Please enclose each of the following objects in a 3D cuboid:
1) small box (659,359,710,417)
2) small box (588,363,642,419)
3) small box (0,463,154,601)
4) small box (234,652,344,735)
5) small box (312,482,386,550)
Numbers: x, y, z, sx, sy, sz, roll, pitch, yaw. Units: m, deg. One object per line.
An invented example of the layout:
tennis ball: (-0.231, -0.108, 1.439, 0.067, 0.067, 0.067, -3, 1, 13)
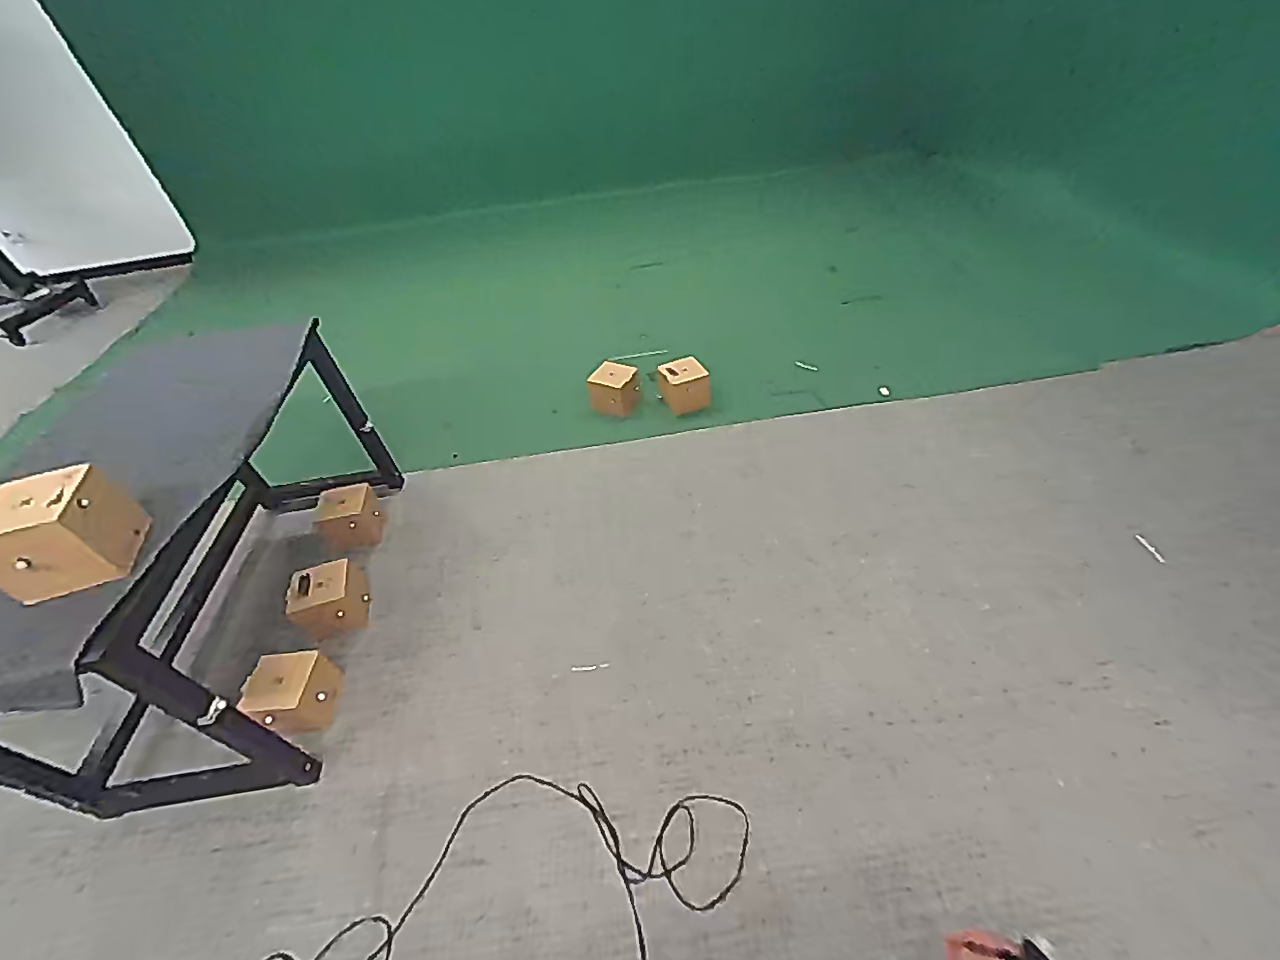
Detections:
small box: (0.199, -0.403, 2.384, 0.179, 0.176, 0.168, -19, 46, -12)
small box: (-0.106, -0.396, 2.422, 0.179, 0.176, 0.168, 17, 49, 24)
small box: (-1.092, 0.101, 1.021, 0.179, 0.176, 0.168, -17, 45, -10)
small box: (-0.983, 0.608, 1.538, 0.179, 0.176, 0.168, -6, 45, 3)
small box: (-1.076, 0.137, 2.019, 0.179, 0.176, 0.168, -12, 44, -4)
